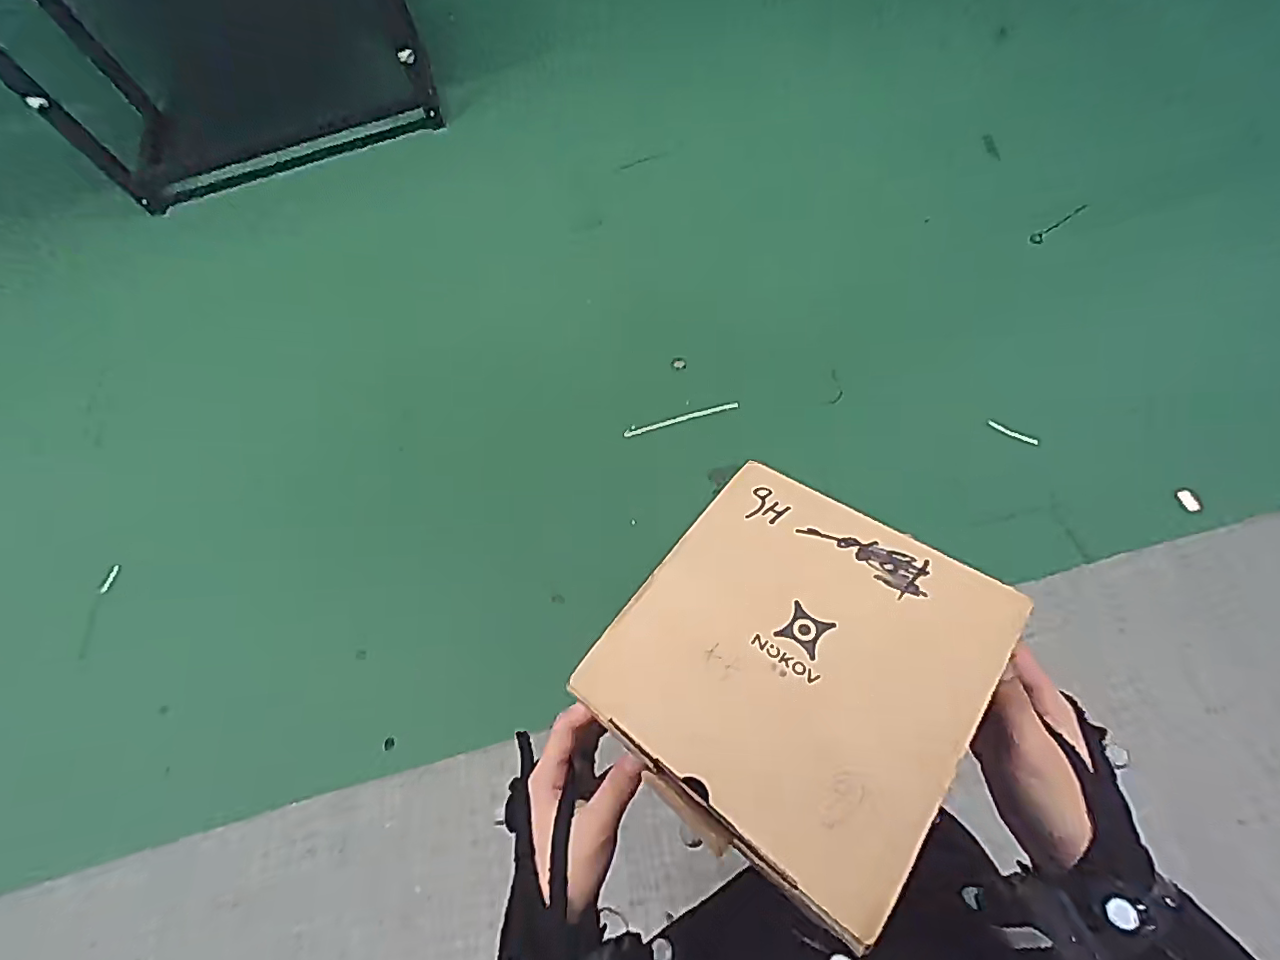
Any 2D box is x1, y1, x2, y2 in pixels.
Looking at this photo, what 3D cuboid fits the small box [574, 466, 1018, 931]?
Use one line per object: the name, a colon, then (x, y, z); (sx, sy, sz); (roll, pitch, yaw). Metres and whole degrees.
small box: (0.092, 0.130, 0.344); (0.168, 0.176, 0.179); (30, 66, 29)
